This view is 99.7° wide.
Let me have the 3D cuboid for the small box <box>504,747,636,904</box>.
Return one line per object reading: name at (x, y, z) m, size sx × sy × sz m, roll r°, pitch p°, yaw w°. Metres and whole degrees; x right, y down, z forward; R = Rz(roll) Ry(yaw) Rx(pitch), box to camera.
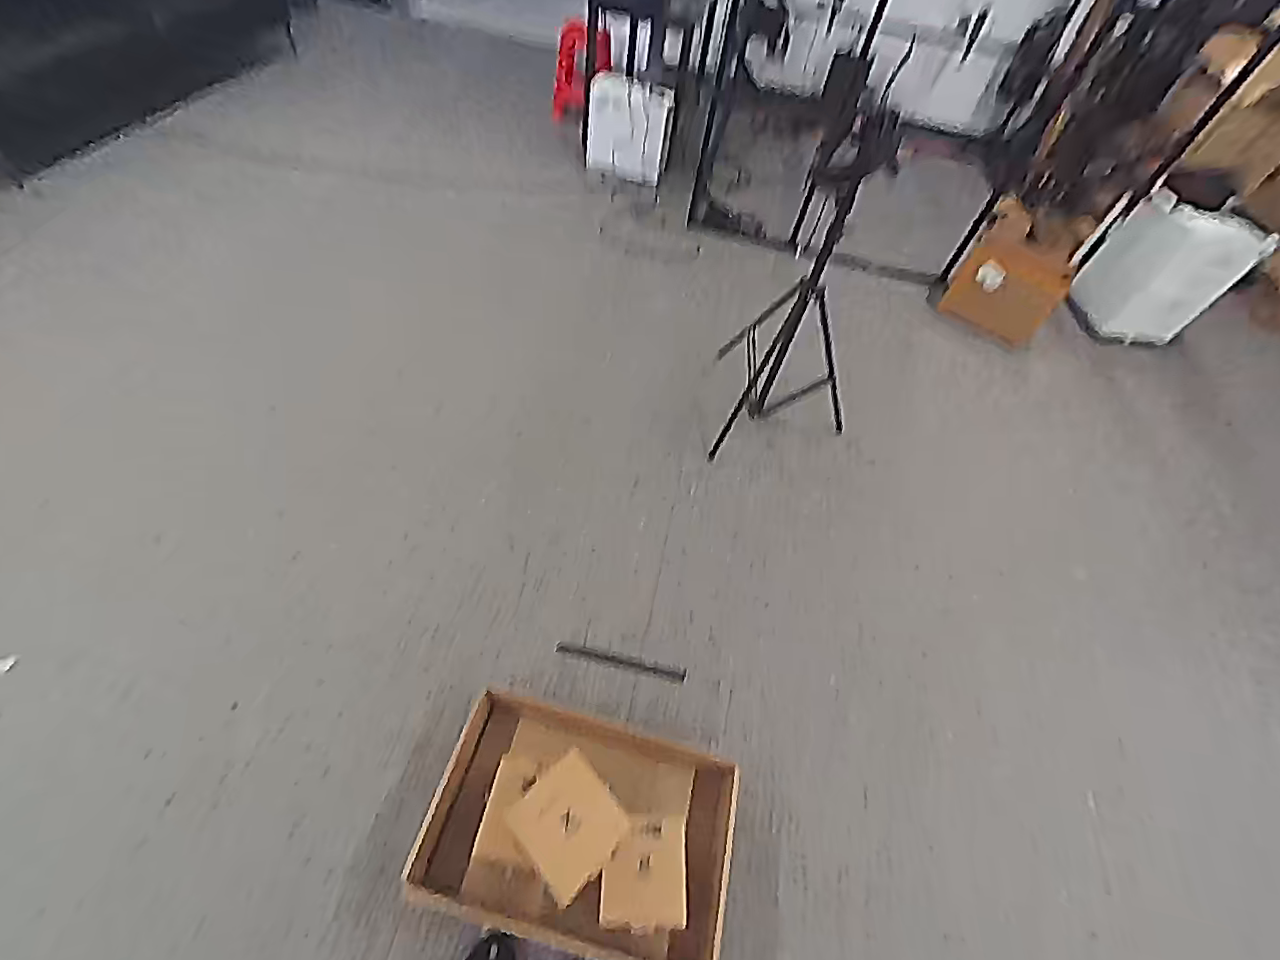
small box at (-0.132, 0.641, 1.006) m, size 0.168 × 0.176 × 0.179 m, roll -34°, pitch 64°, yaw -32°
